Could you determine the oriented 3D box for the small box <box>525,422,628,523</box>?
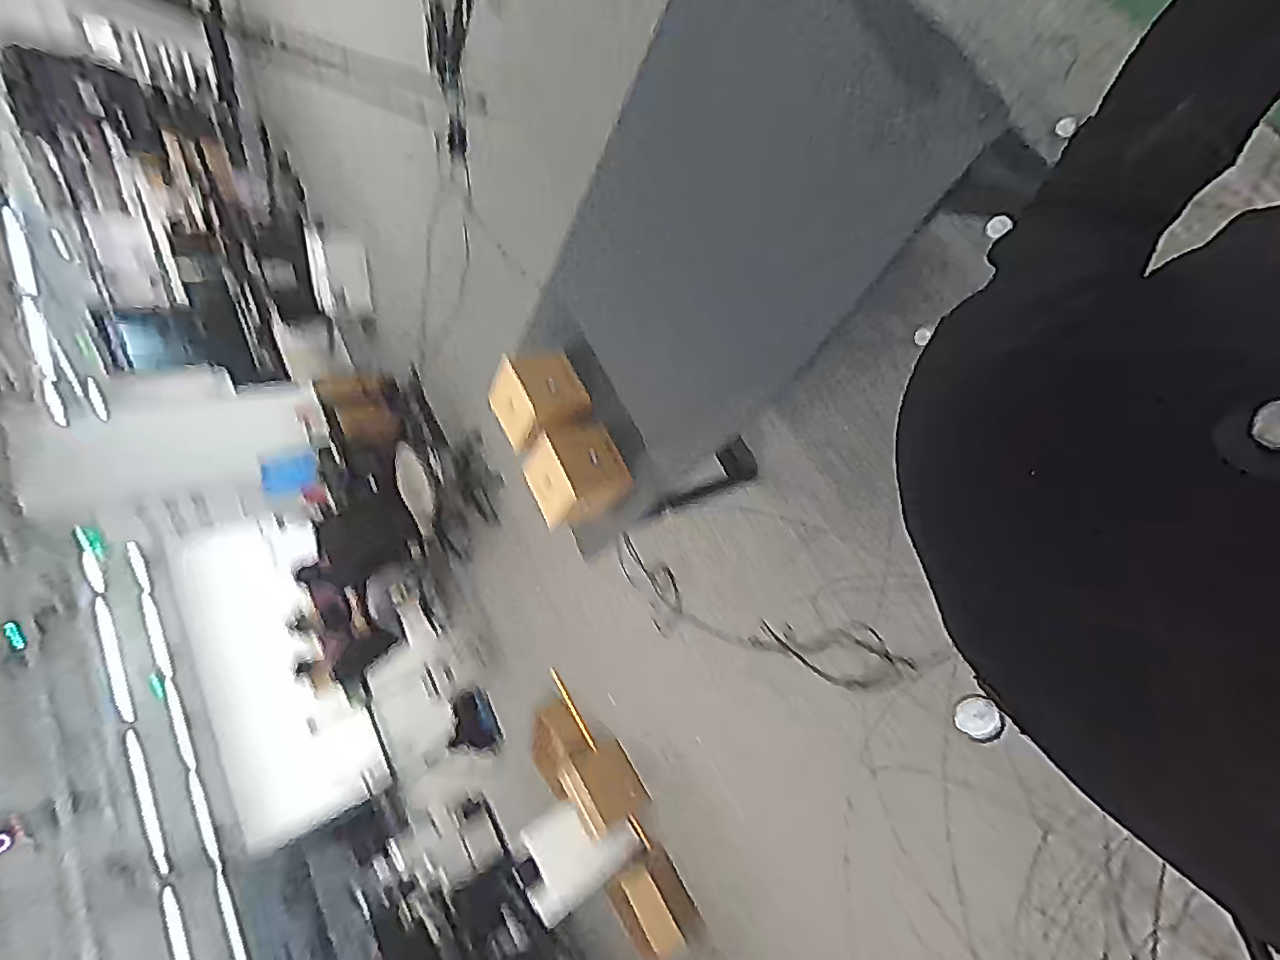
[{"bbox_3d":[-0.150,-0.022,1.317,0.168,0.176,0.179,62,141,17],"label":"small box"}]

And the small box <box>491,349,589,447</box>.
[{"bbox_3d":[-0.251,-0.213,1.377,0.168,0.176,0.179,59,141,16],"label":"small box"}]
